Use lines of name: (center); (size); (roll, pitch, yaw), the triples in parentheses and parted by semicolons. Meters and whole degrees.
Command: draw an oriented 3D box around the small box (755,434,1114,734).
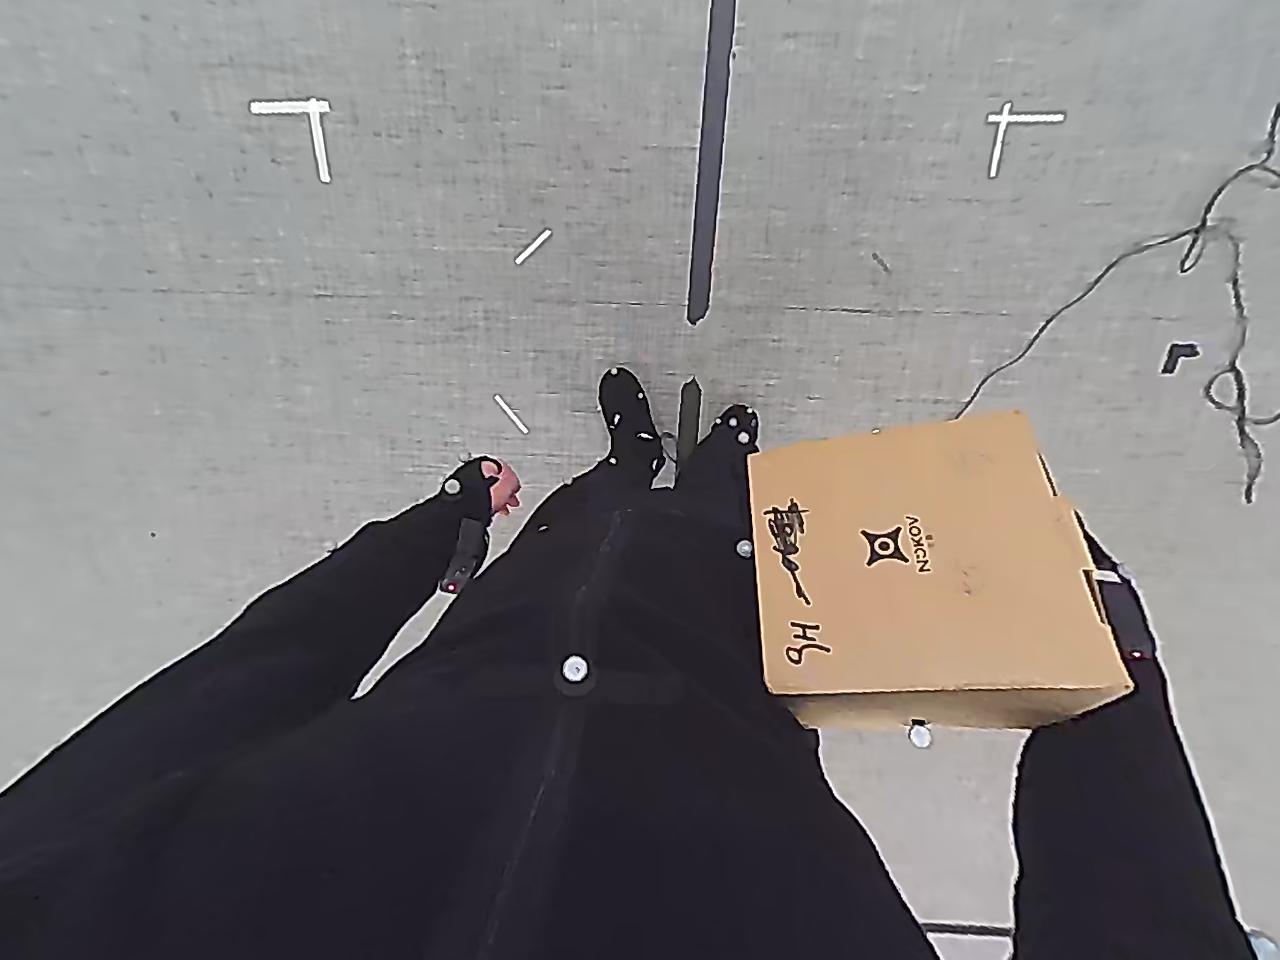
small box: (0.189, 0.089, 0.403); (0.179, 0.168, 0.176); (-8, 148, 18)
